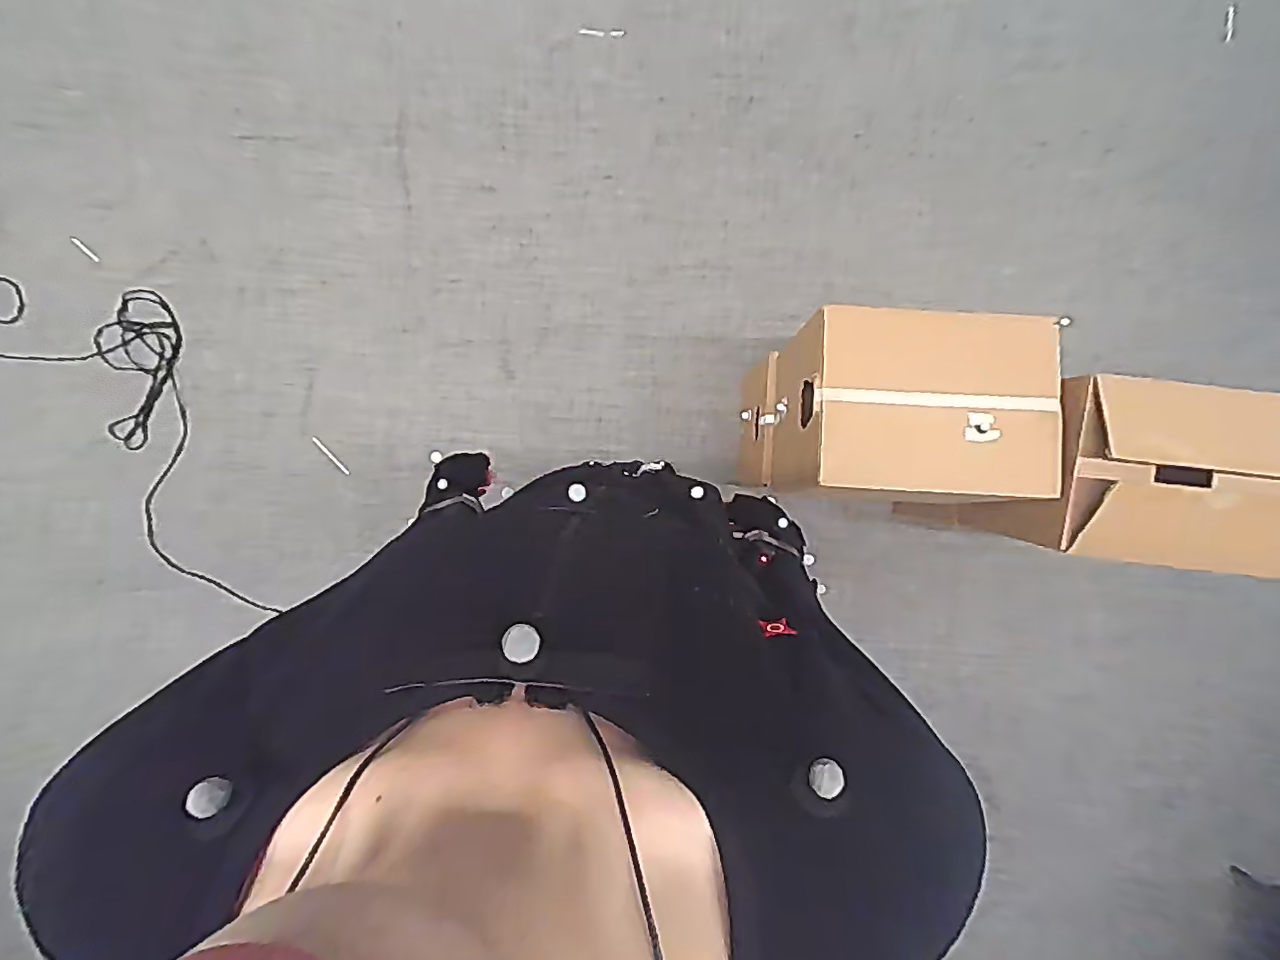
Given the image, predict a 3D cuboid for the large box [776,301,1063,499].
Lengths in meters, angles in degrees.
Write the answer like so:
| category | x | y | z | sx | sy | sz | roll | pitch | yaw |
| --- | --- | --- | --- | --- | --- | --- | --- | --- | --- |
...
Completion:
| category | x | y | z | sx | sy | sz | roll | pitch | yaw |
| --- | --- | --- | --- | --- | --- | --- | --- | --- | --- |
| large box | 0.498 | -0.128 | 1.042 | 0.408 | 0.320 | 0.320 | 3 | 87 | -1 |
